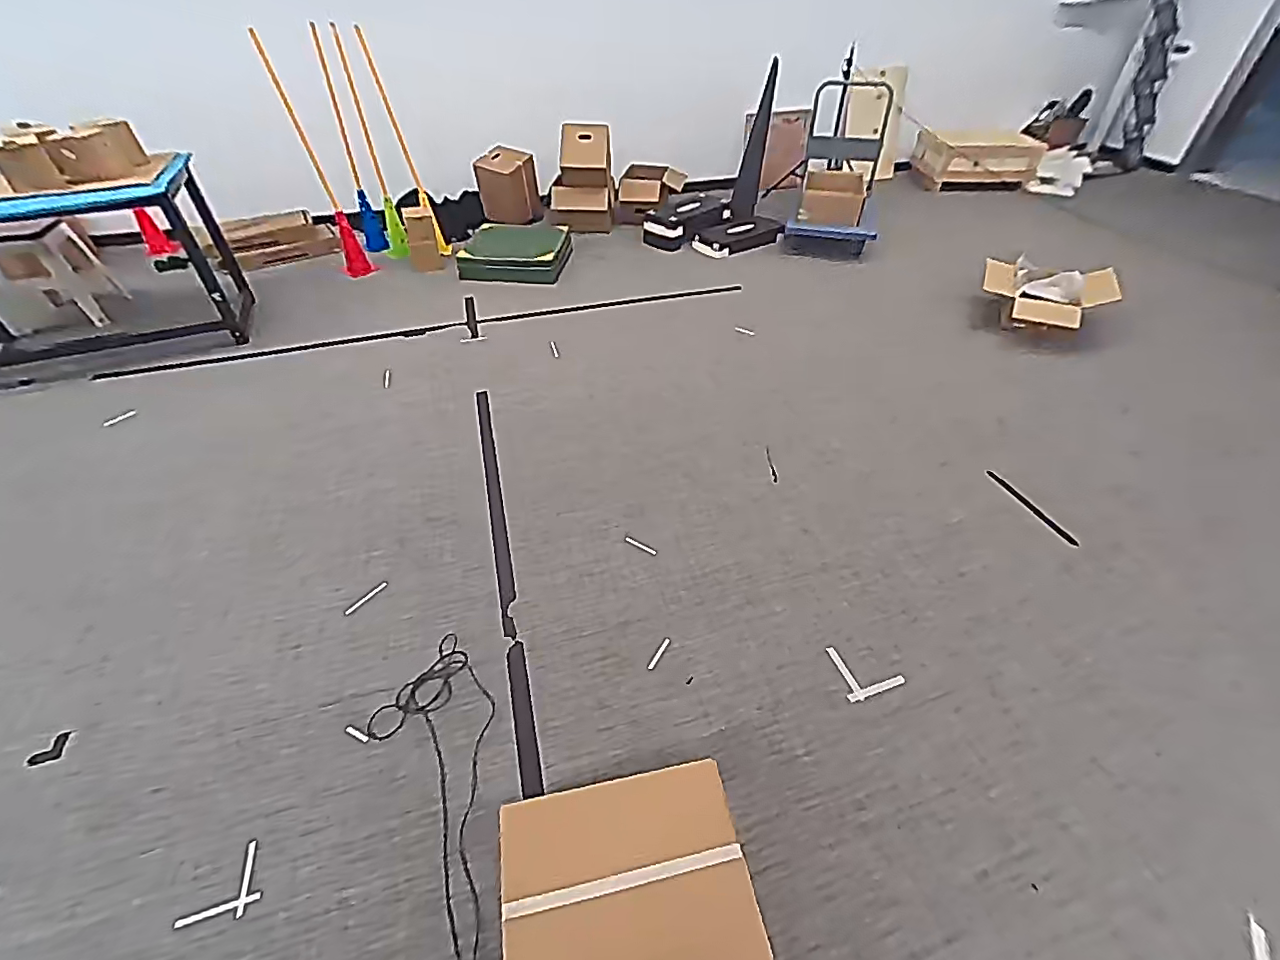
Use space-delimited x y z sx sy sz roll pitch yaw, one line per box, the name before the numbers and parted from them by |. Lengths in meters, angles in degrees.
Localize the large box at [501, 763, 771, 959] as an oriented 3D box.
large box | -0.023 0.779 0.994 0.408 0.320 0.320 -8 42 -9
